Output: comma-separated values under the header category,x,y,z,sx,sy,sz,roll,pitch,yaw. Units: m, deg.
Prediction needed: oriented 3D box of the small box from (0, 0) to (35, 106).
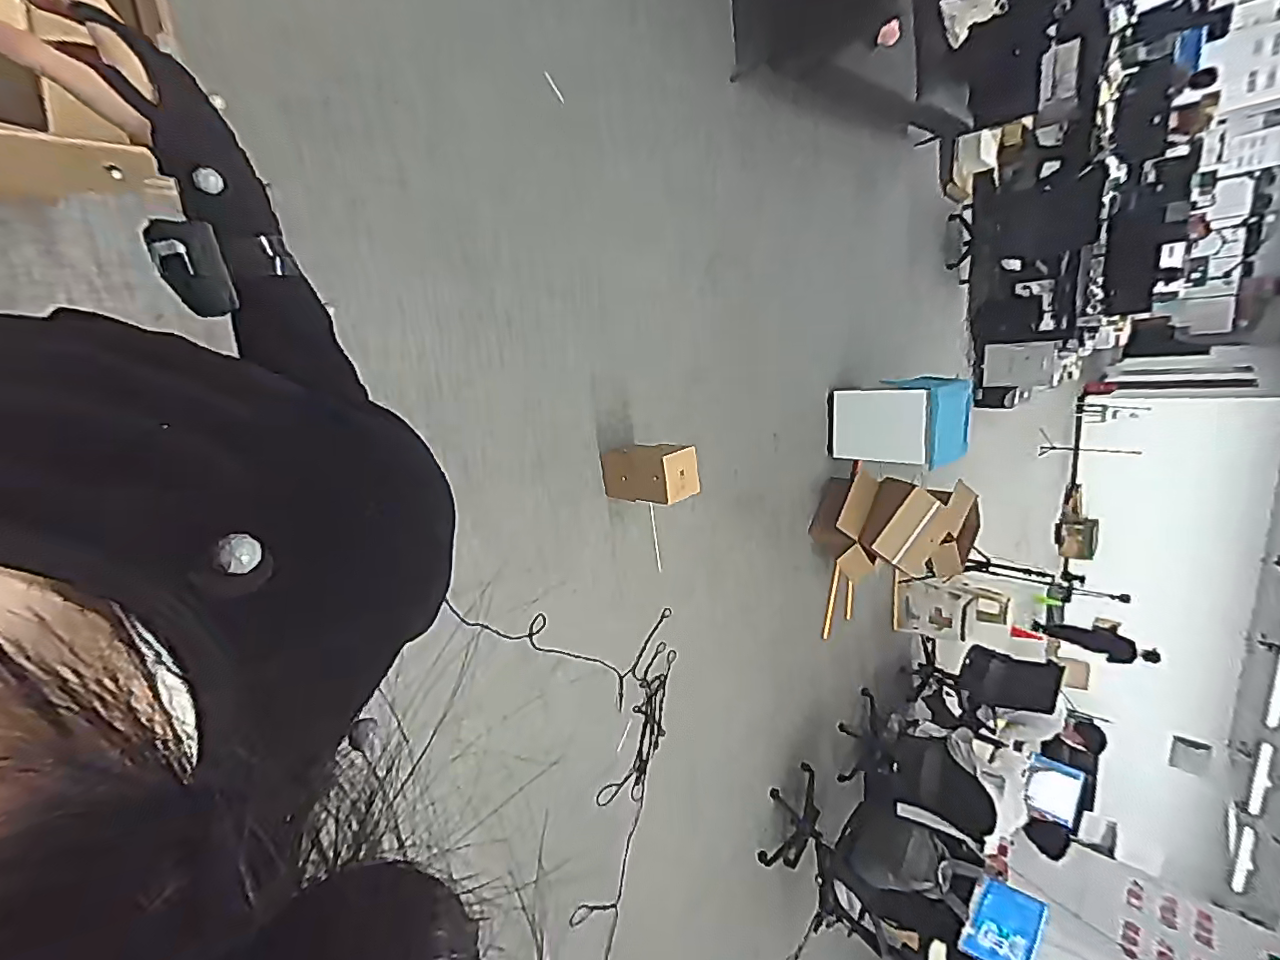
category,x,y,z,sx,sy,sz,roll,pitch,yaw
small box,-0.479,-0.345,0.303,0.179,0.176,0.168,-8,104,-44

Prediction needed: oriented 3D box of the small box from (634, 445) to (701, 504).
category,x,y,z,sx,sy,sz,roll,pitch,yaw
small box,0.094,-0.027,1.910,0.168,0.176,0.179,-20,109,-40

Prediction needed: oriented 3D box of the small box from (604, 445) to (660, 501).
category,x,y,z,sx,sy,sz,roll,pitch,yaw
small box,-0.019,-0.033,2.030,0.168,0.176,0.179,-20,110,-40
